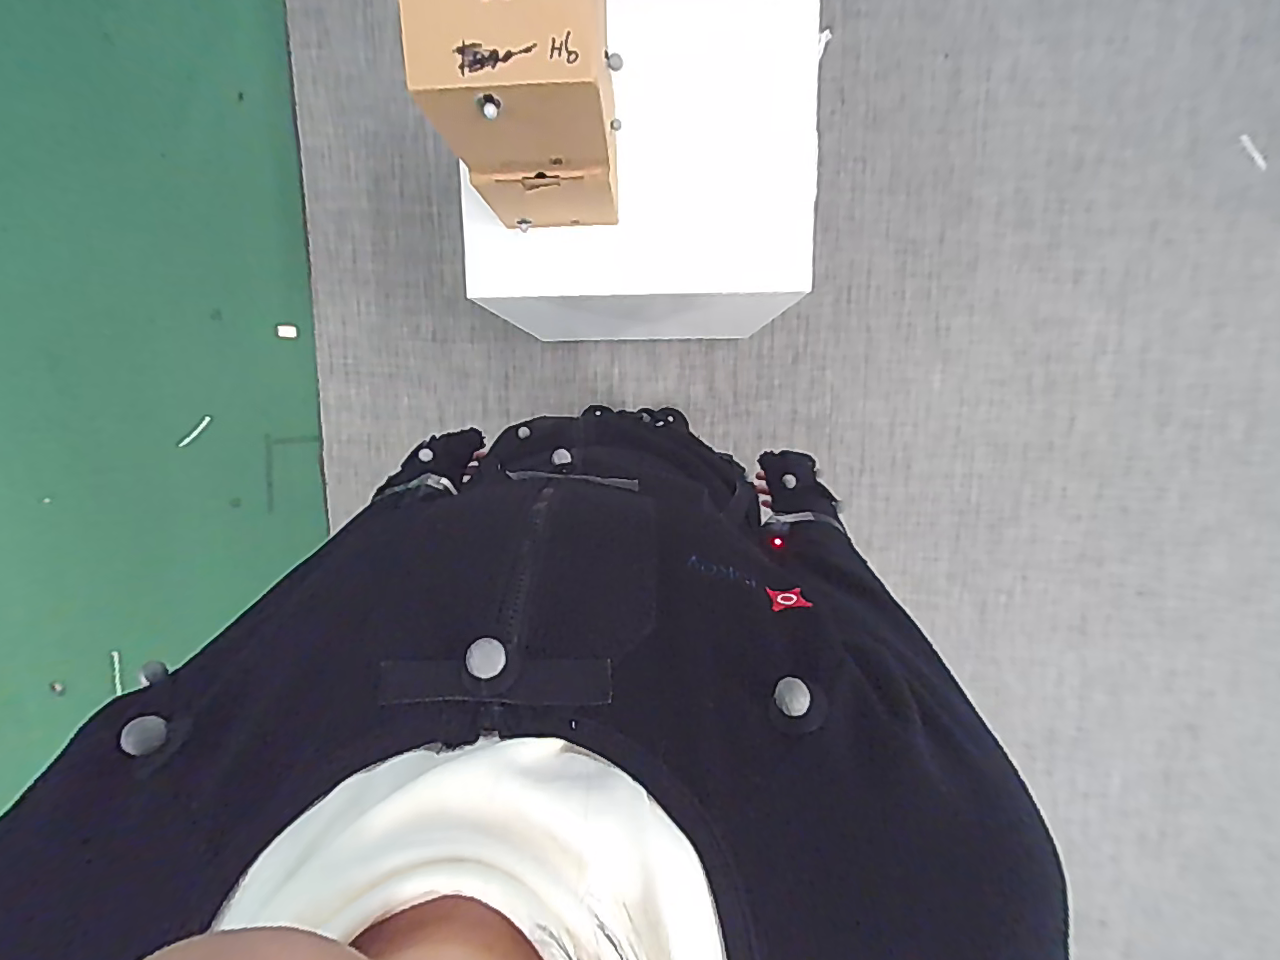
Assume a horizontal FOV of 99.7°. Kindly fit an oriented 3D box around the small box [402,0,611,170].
[{"bbox_3d":[-0.118,-0.435,0.532,0.168,0.176,0.179,-1,97,2],"label":"small box"}]

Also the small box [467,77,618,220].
[{"bbox_3d":[-0.117,-0.447,0.695,0.168,0.176,0.179,-1,97,1],"label":"small box"}]
